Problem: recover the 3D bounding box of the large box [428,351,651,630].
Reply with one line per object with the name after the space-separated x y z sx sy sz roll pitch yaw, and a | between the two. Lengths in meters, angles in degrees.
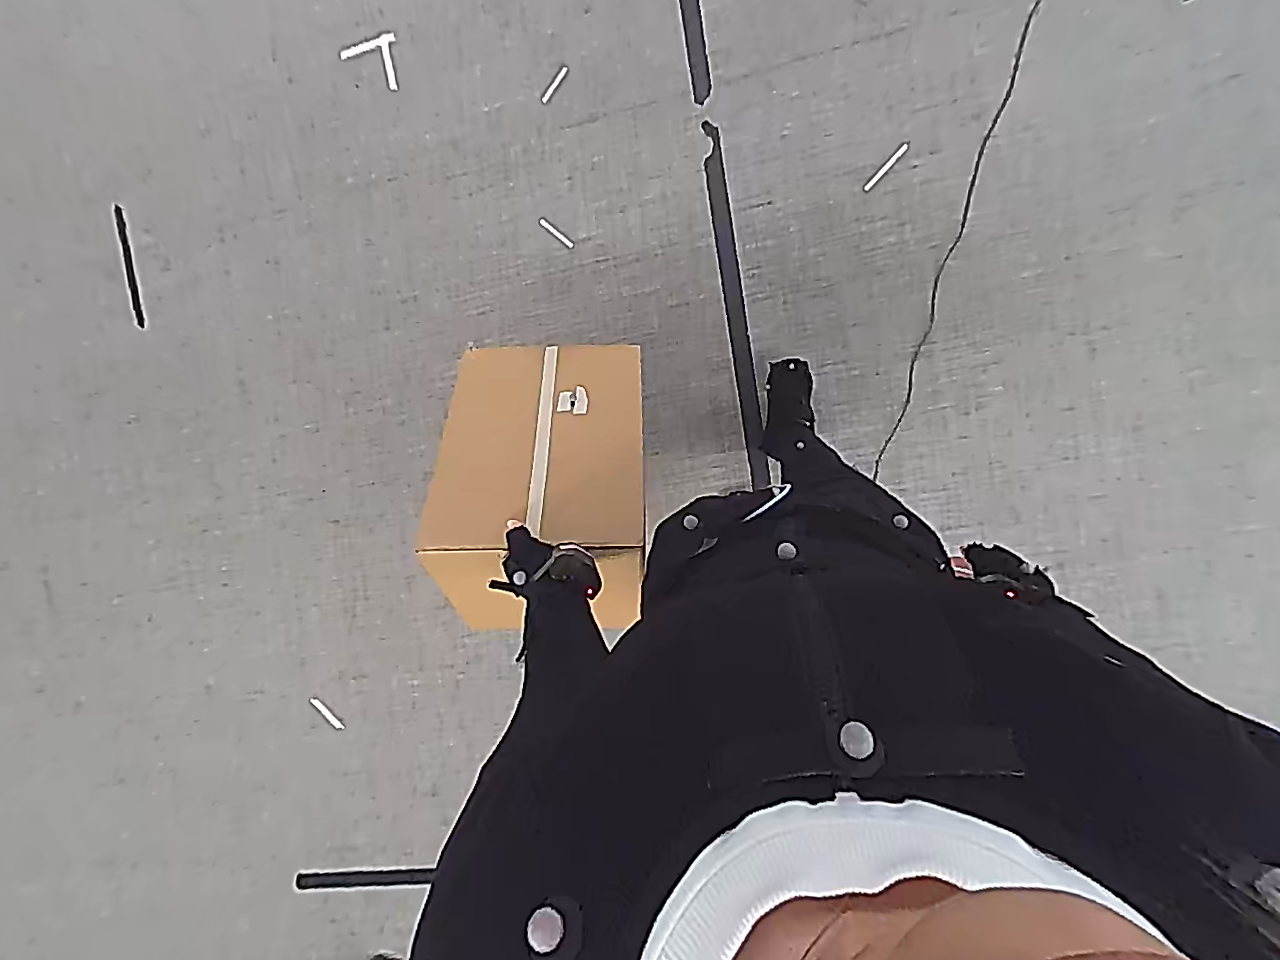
-0.146 0.021 0.973 0.320 0.320 0.408 0 53 -1 | large box
